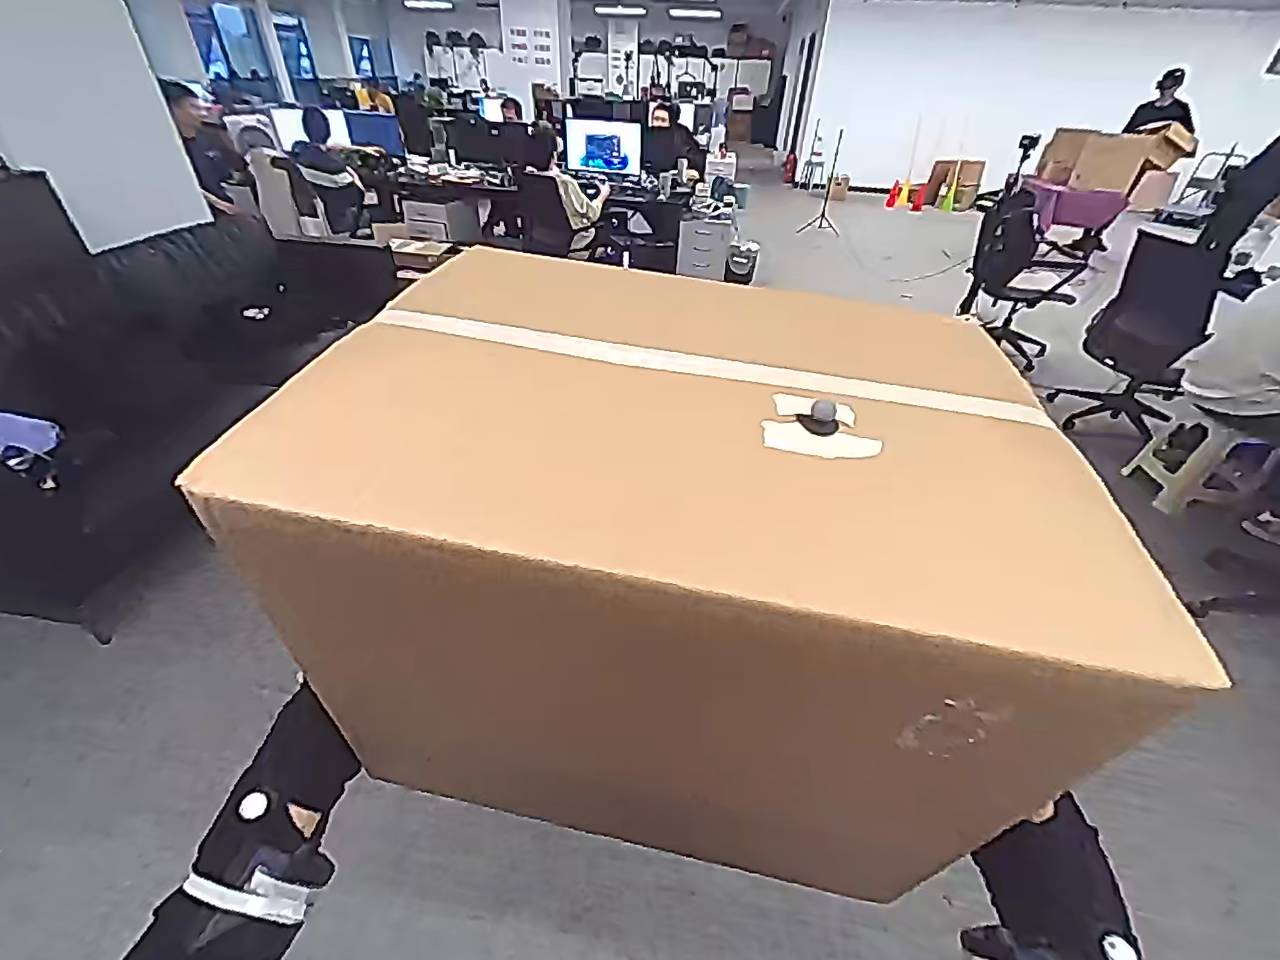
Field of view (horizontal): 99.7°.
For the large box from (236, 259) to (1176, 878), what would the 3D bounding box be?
[{"bbox_3d":[0.026,0.055,0.430,0.408,0.320,0.320,11,42,5],"label":"large box"}]
